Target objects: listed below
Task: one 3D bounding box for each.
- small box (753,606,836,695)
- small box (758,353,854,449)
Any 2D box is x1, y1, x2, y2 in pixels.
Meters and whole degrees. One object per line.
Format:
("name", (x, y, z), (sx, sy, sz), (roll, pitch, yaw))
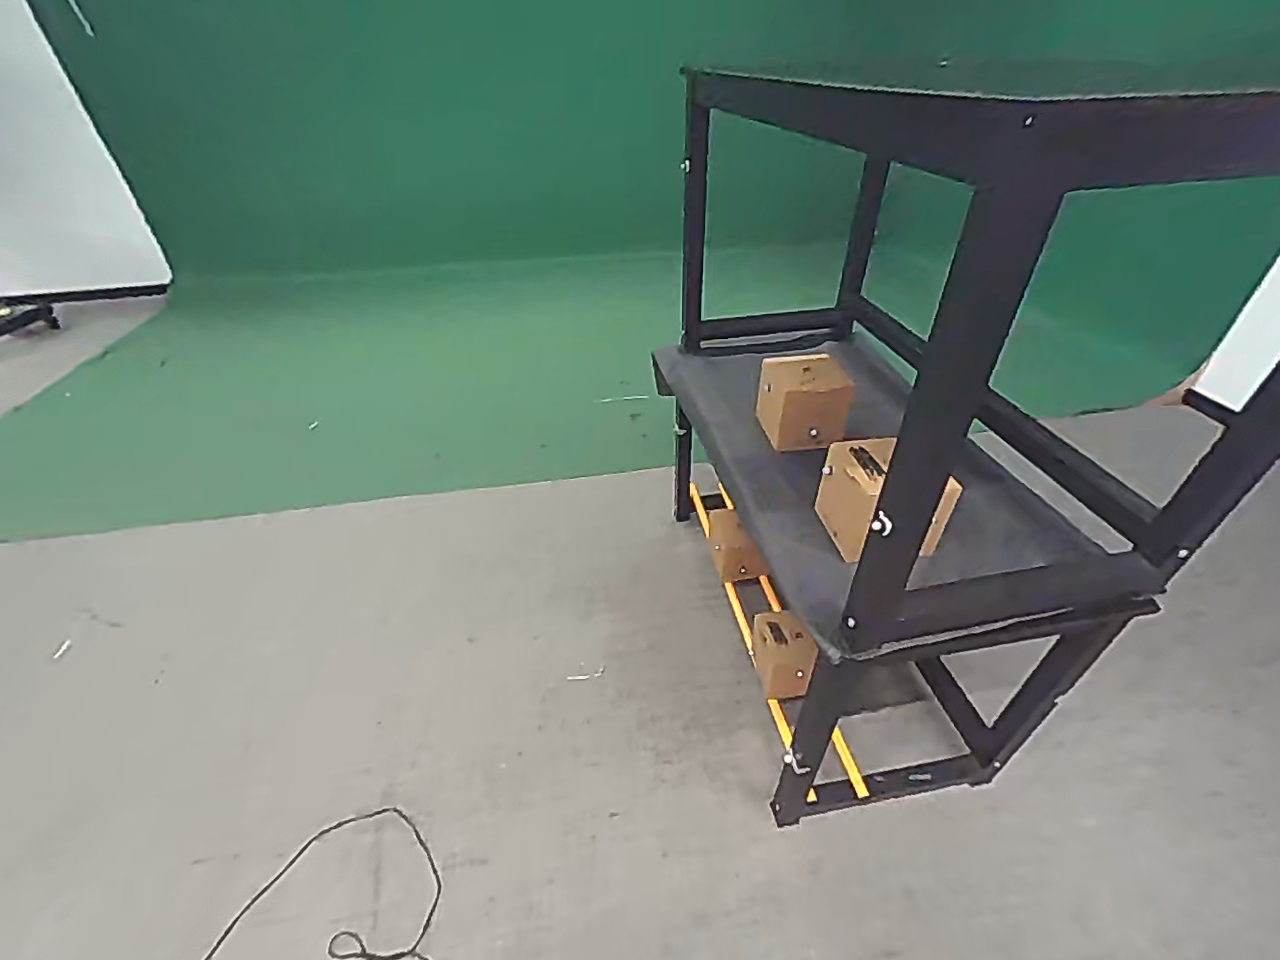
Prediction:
("small box", (0.416, 0.473, 1.493), (0.179, 0.176, 0.168), (-5, 39, -4))
("small box", (0.398, -0.196, 1.335), (0.168, 0.176, 0.179), (-5, 39, -4))
